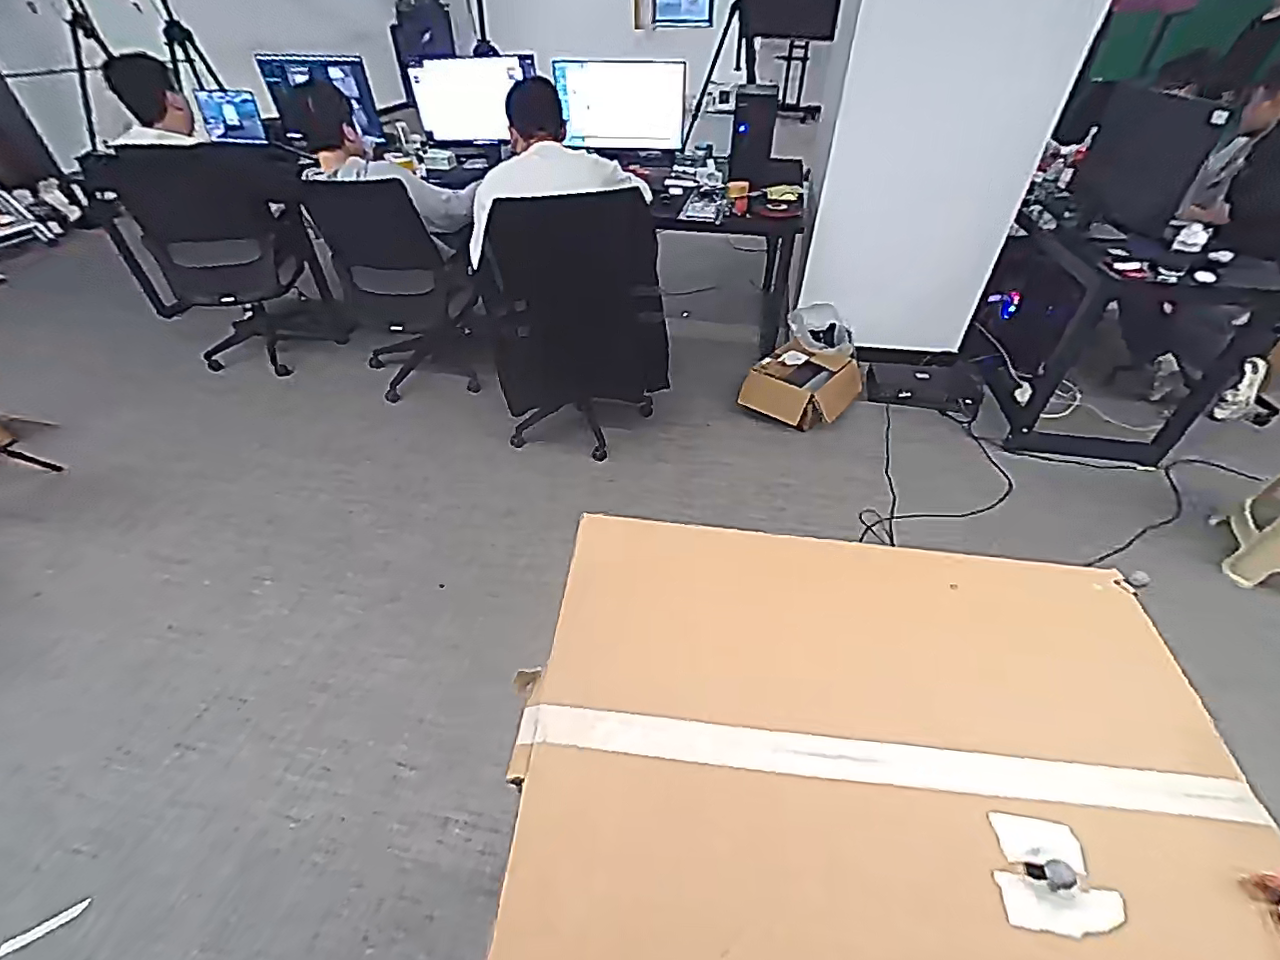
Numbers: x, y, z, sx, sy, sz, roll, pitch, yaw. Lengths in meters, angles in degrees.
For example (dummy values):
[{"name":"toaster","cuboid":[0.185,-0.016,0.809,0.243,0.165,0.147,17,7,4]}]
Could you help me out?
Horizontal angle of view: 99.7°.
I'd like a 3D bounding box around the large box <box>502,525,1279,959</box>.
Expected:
[{"name":"large box","cuboid":[0.130,0.265,0.424,0.408,0.320,0.320,6,48,1]}]
